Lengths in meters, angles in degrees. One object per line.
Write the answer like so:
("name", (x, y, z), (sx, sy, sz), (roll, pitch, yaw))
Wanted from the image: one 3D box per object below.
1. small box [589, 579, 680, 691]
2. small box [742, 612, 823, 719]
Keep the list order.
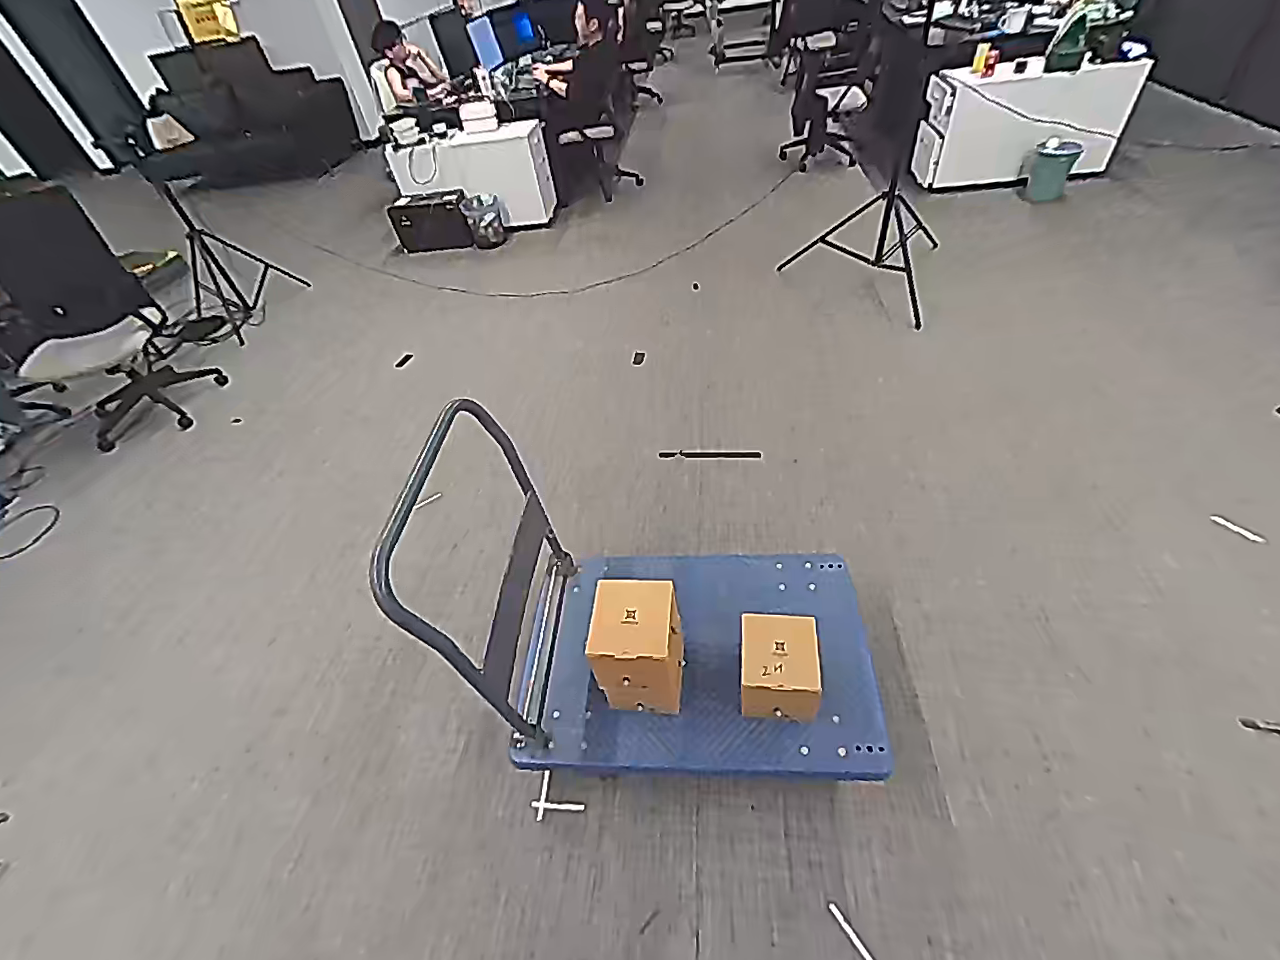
("small box", (-0.004, 0.332, 1.164), (0.168, 0.176, 0.179), (-1, 47, 9))
("small box", (0.321, 0.426, 1.245), (0.168, 0.176, 0.179), (0, 46, 11))
